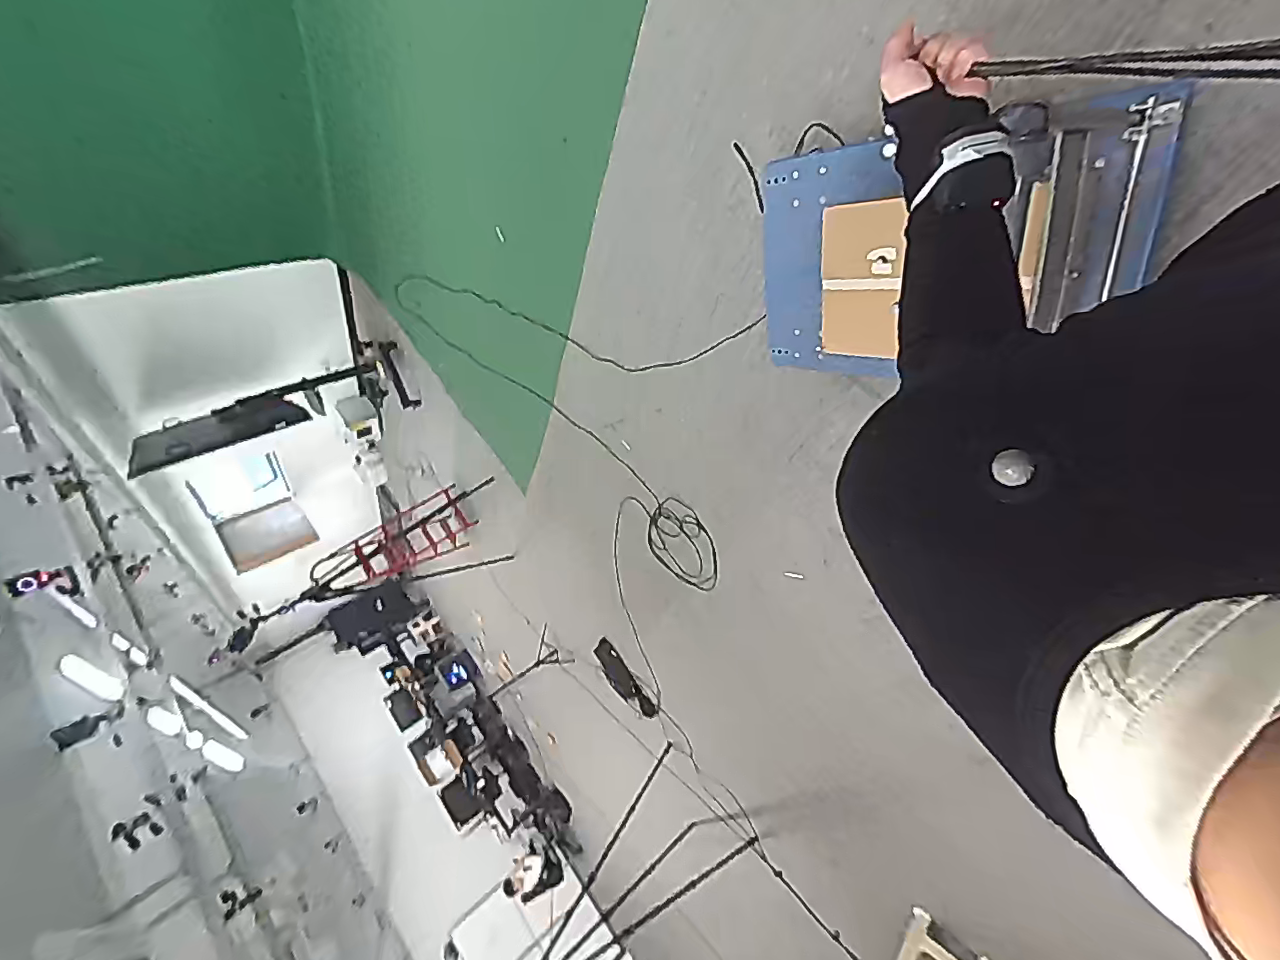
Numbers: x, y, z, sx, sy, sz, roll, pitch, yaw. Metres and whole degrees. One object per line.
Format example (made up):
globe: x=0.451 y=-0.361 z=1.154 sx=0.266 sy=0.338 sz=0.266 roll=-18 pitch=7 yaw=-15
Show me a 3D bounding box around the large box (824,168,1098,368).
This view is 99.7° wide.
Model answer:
large box: x=0.653 y=-0.443 z=1.141 sx=0.408 sy=0.320 sz=0.320 roll=20 pitch=127 yaw=45
